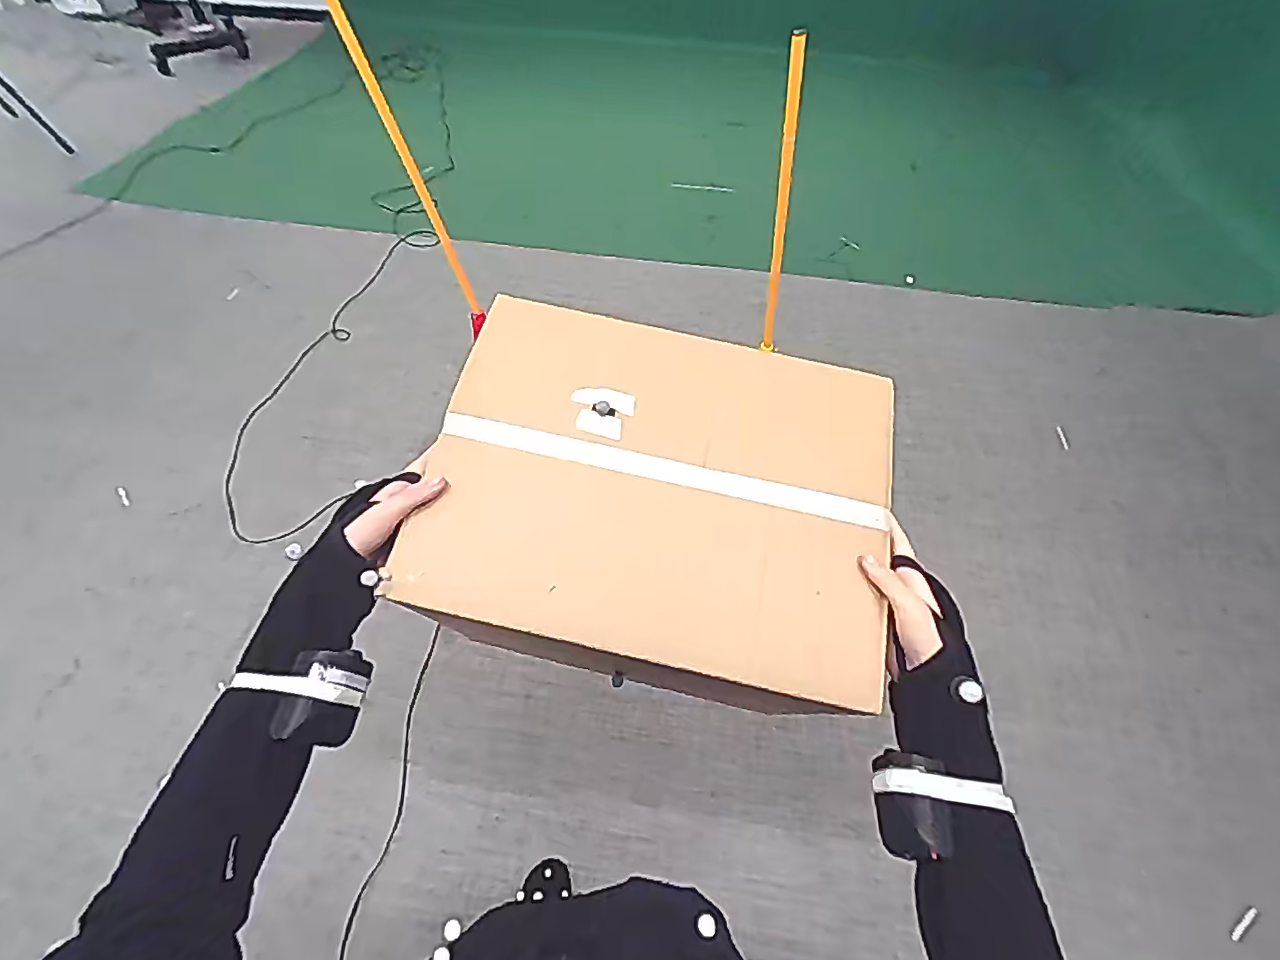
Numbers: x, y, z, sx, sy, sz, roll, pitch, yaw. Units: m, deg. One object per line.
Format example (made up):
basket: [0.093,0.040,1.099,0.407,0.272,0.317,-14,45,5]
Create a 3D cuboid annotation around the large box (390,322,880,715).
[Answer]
large box: [0.013,0.068,0.631,0.408,0.320,0.320,13,67,3]
